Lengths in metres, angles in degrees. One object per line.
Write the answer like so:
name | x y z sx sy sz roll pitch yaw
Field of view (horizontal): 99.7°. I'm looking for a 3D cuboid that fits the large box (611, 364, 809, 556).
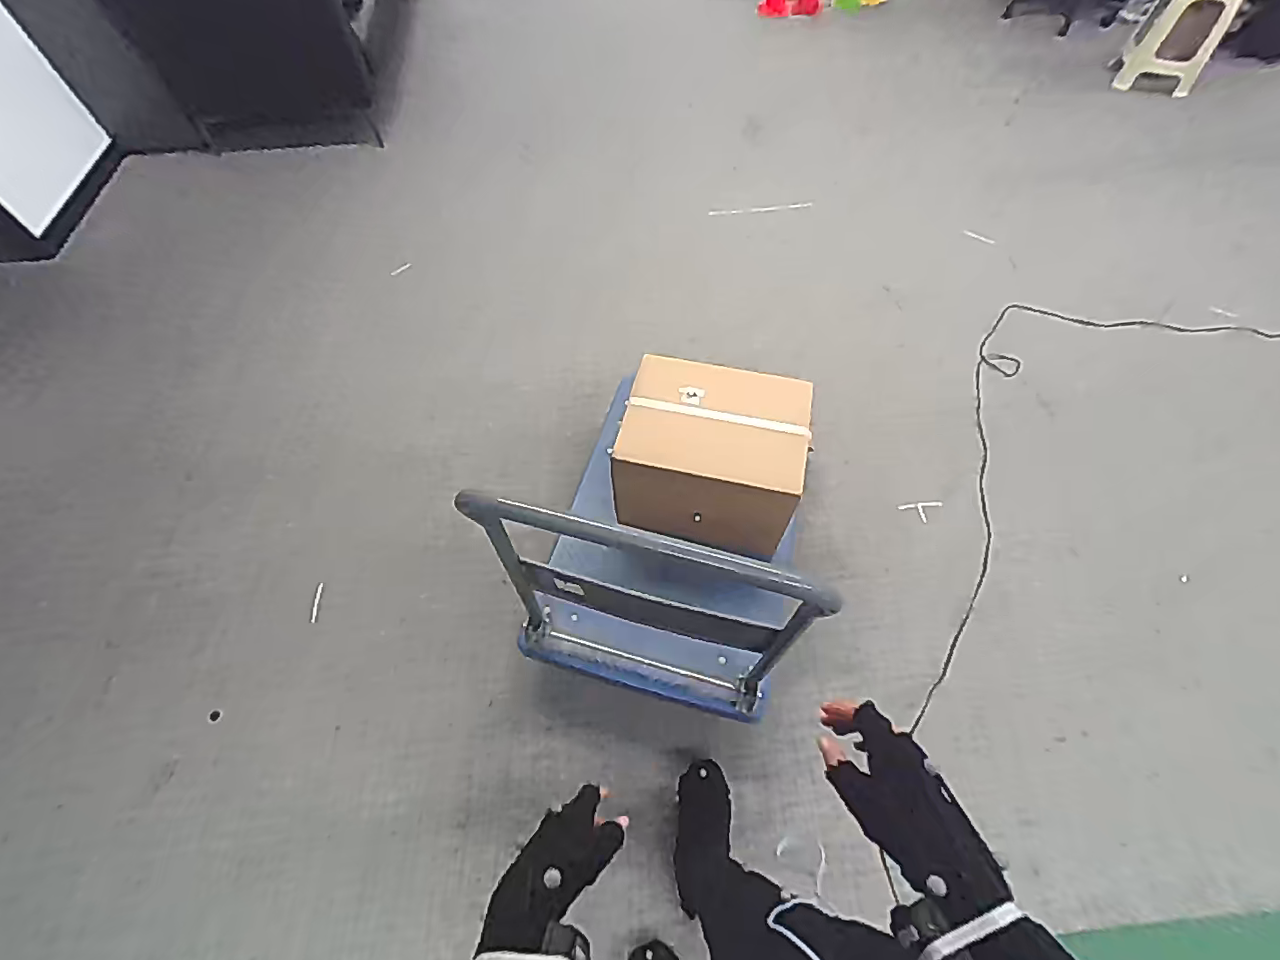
large box | 0.173 -0.043 1.326 0.408 0.320 0.320 11 58 10
